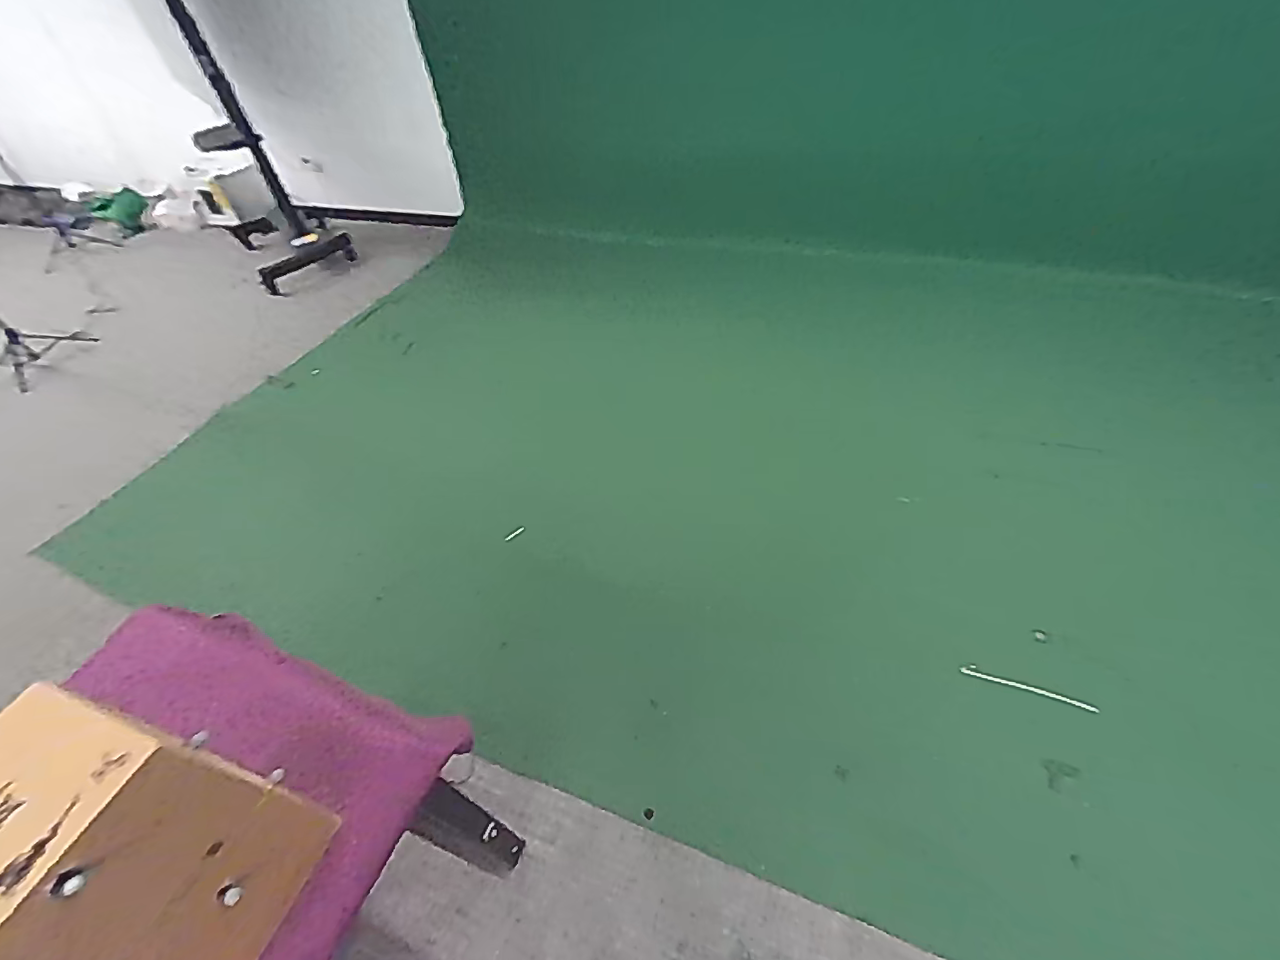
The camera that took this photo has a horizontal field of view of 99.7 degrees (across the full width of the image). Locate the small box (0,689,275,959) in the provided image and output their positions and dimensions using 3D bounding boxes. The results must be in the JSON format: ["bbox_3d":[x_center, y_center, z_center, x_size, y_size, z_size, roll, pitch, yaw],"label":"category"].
[{"bbox_3d":[-0.508,0.330,0.510,0.179,0.176,0.168,12,52,18],"label":"small box"}]

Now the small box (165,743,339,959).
[{"bbox_3d":[-0.490,0.442,0.628,0.168,0.176,0.179,12,51,17],"label":"small box"}]
